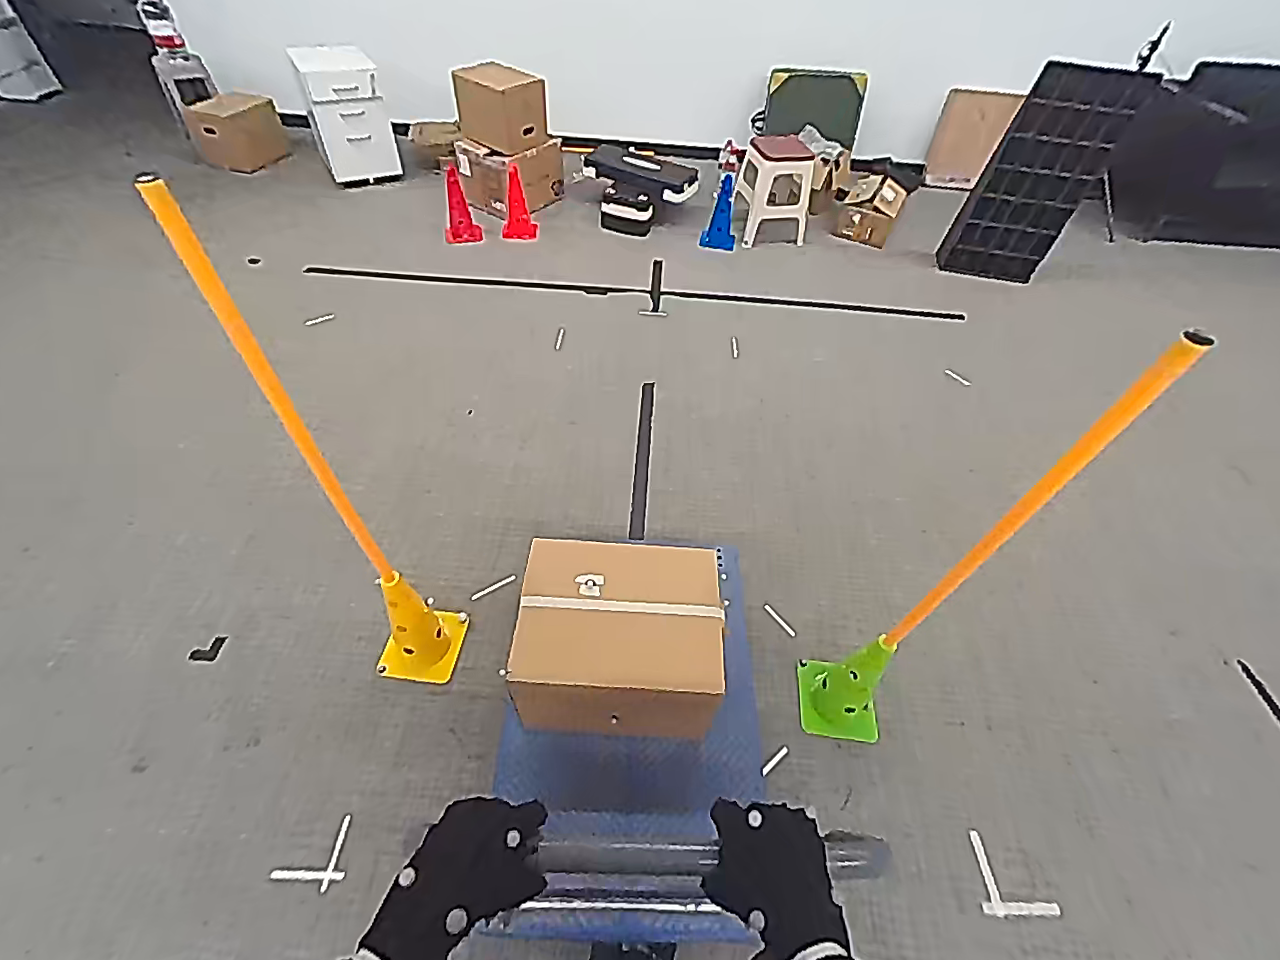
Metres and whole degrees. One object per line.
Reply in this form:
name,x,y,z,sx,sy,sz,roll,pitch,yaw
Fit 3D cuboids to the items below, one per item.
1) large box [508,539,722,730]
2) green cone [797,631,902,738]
large box,-0.045,0.349,1.203,0.408,0.320,0.320,4,50,0
green cone,0.543,0.472,1.334,0.202,0.368,0.200,8,49,1
